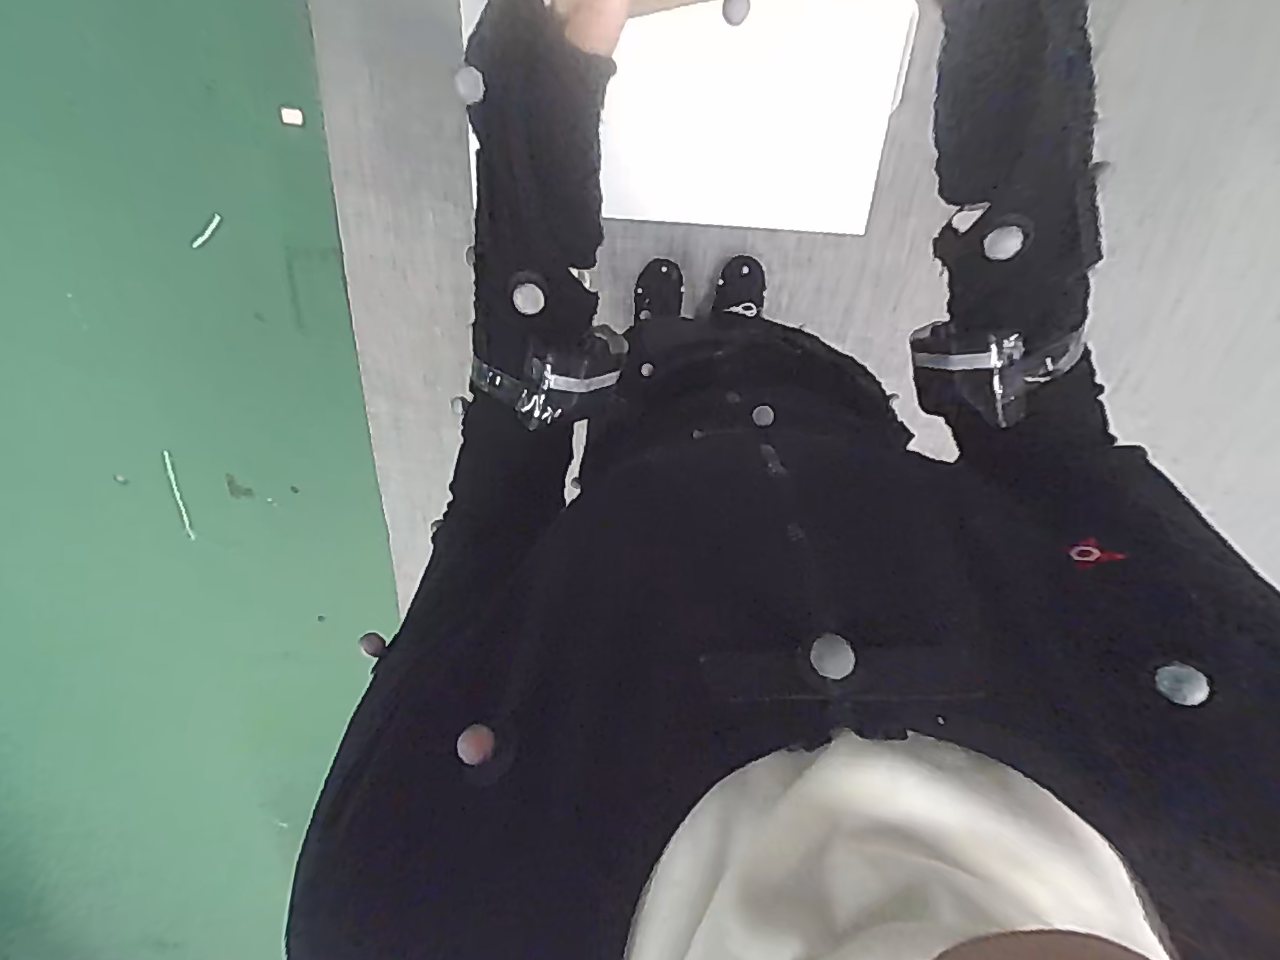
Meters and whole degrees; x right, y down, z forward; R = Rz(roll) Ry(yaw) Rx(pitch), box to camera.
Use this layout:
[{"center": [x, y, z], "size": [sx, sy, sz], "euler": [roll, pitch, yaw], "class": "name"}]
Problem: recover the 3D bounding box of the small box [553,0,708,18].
[{"center": [0.039, -0.310, 0.218], "size": [0.179, 0.176, 0.168], "euler": [-6, 129, 8], "class": "small box"}]
